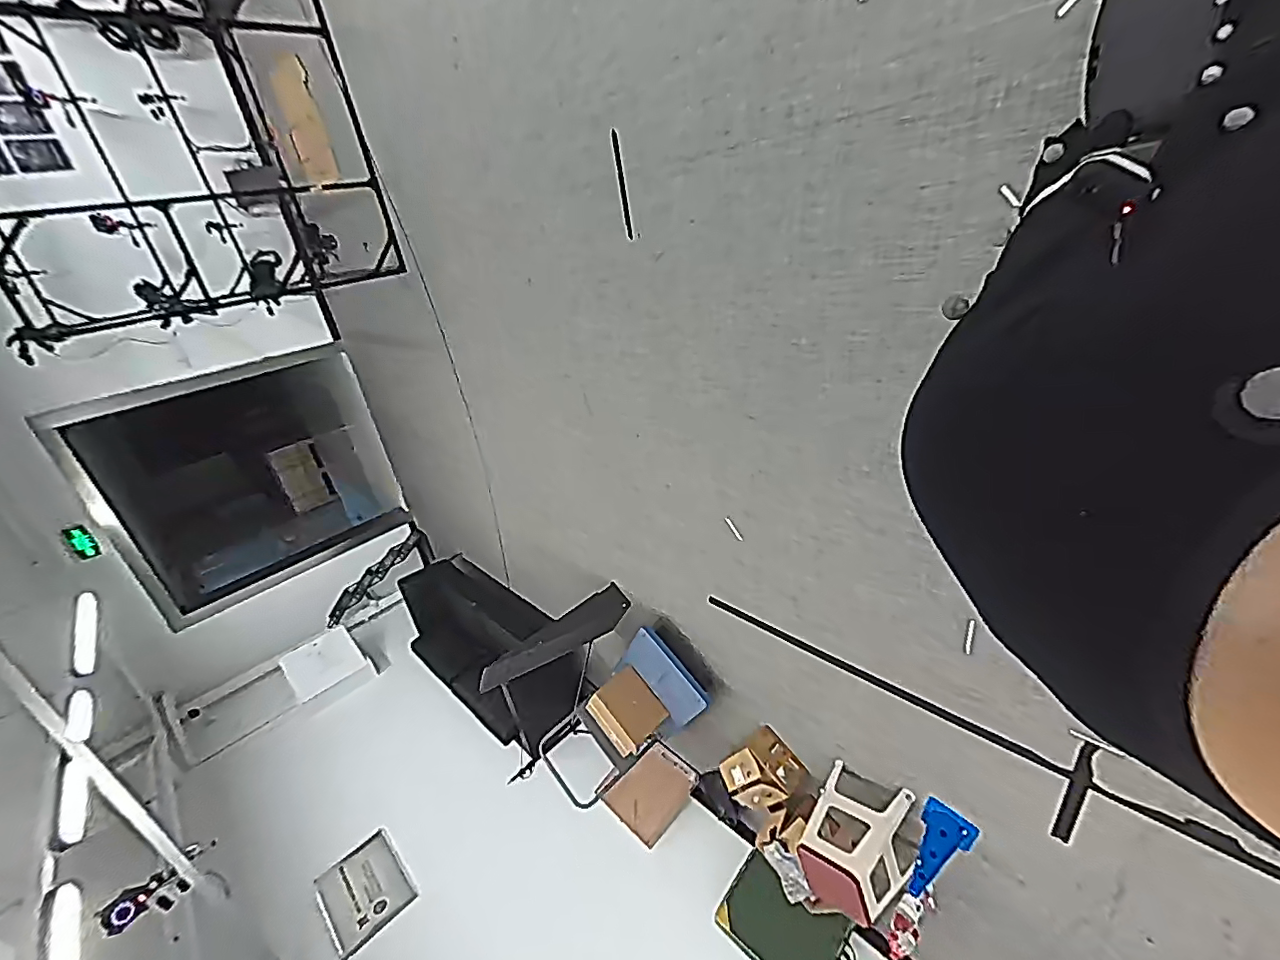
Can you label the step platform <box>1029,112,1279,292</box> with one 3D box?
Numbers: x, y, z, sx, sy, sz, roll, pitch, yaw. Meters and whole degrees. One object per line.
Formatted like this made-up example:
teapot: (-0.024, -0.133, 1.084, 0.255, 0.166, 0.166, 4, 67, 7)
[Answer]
step platform: (1.129, -0.506, 0.980, 0.684, 0.204, 0.286, 18, 127, 46)
